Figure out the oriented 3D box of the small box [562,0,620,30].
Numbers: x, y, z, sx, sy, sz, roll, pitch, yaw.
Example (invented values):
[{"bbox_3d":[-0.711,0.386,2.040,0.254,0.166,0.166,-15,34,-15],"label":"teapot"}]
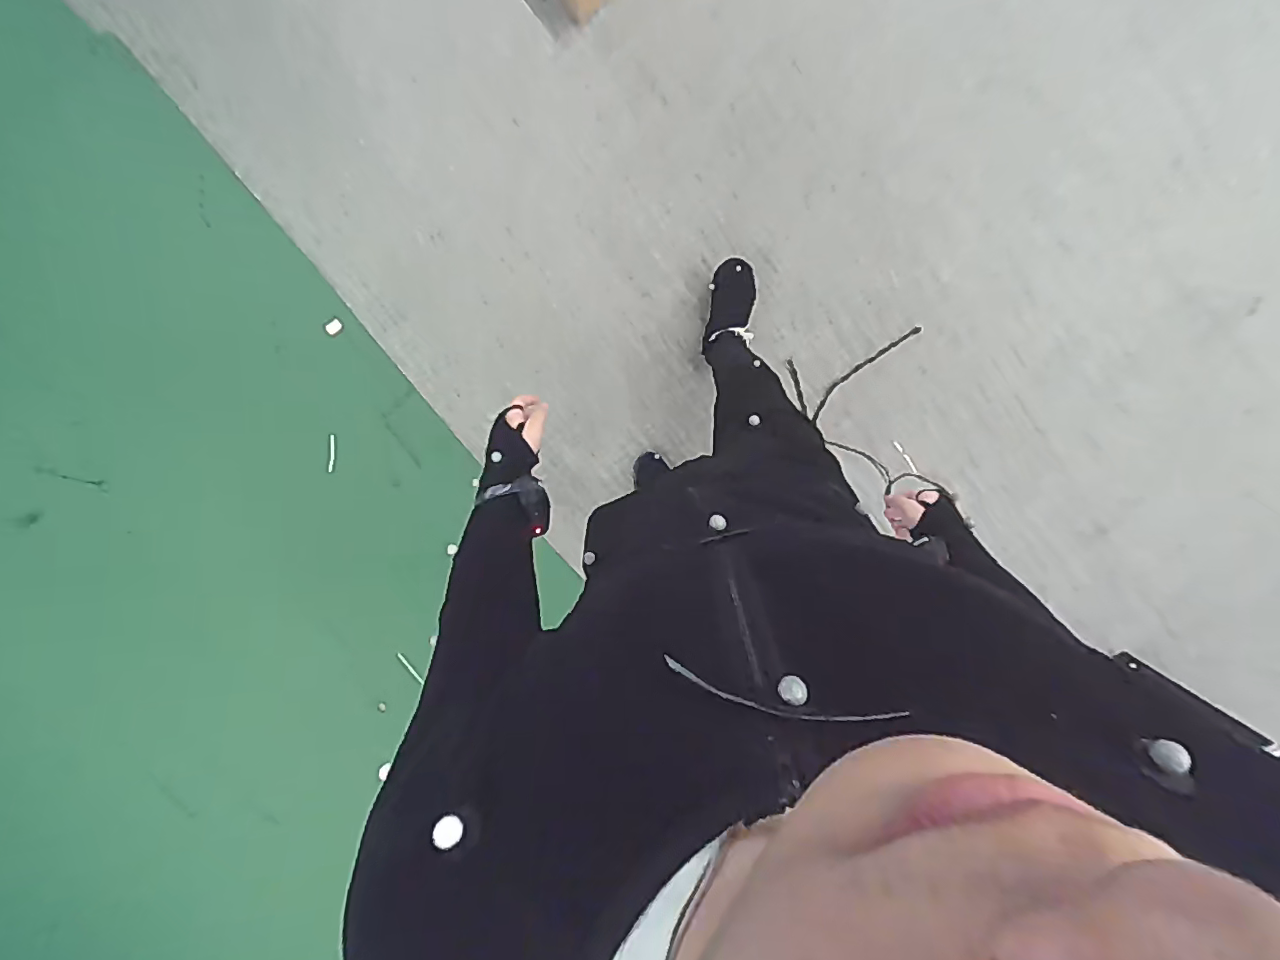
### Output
[{"bbox_3d":[-0.131,-1.243,1.288,0.179,0.176,0.168,-37,98,8],"label":"small box"}]
